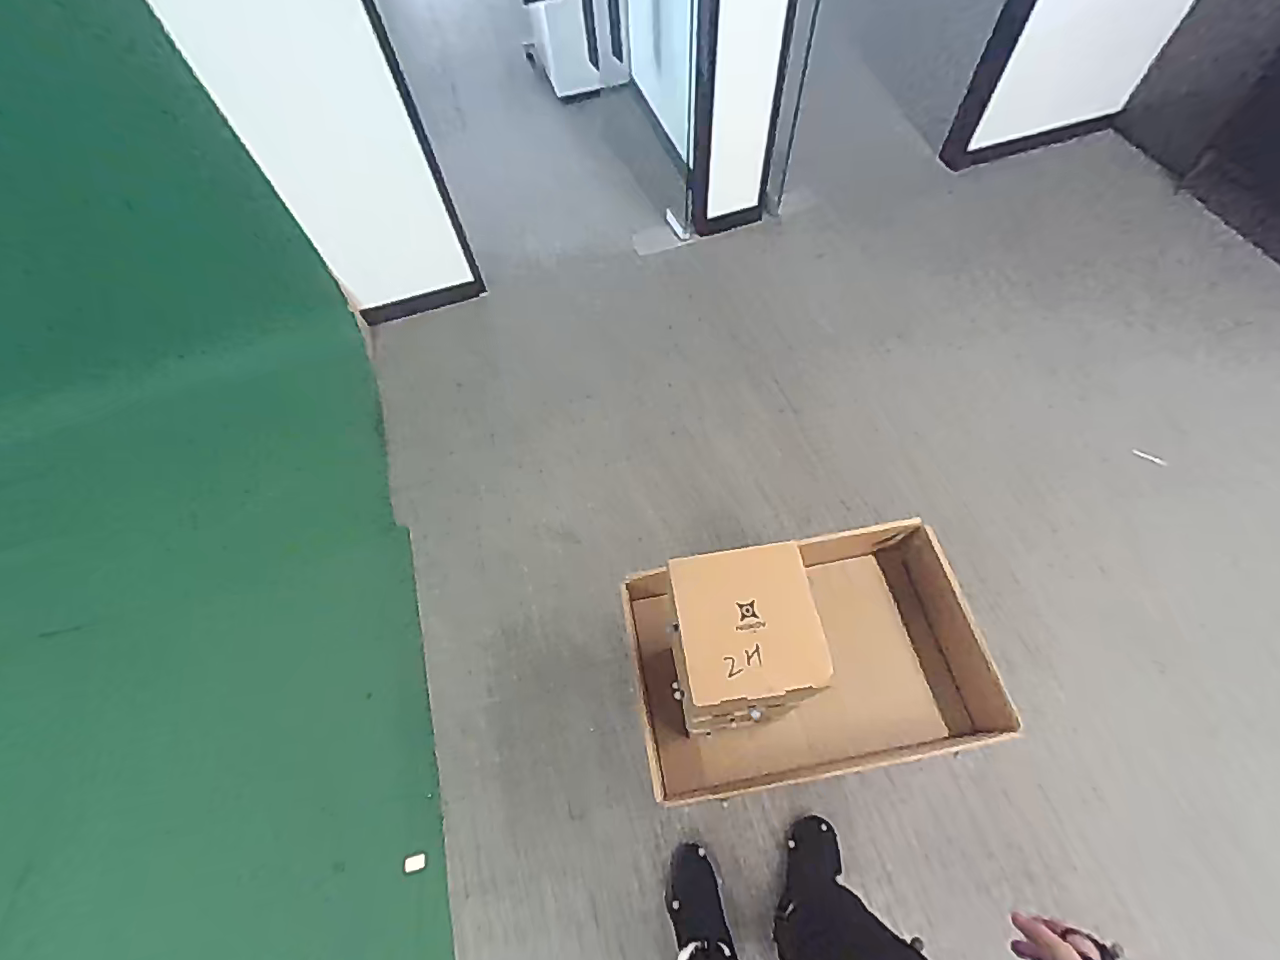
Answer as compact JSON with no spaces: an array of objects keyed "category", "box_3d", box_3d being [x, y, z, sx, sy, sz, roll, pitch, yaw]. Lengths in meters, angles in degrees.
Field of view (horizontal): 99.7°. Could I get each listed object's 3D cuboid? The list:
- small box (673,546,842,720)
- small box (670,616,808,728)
[{"category":"small box","box_3d":[0.135,0.204,0.703,0.168,0.176,0.179,-8,63,-1]},{"category":"small box","box_3d":[0.142,0.281,0.849,0.168,0.176,0.179,-8,64,-2]}]
